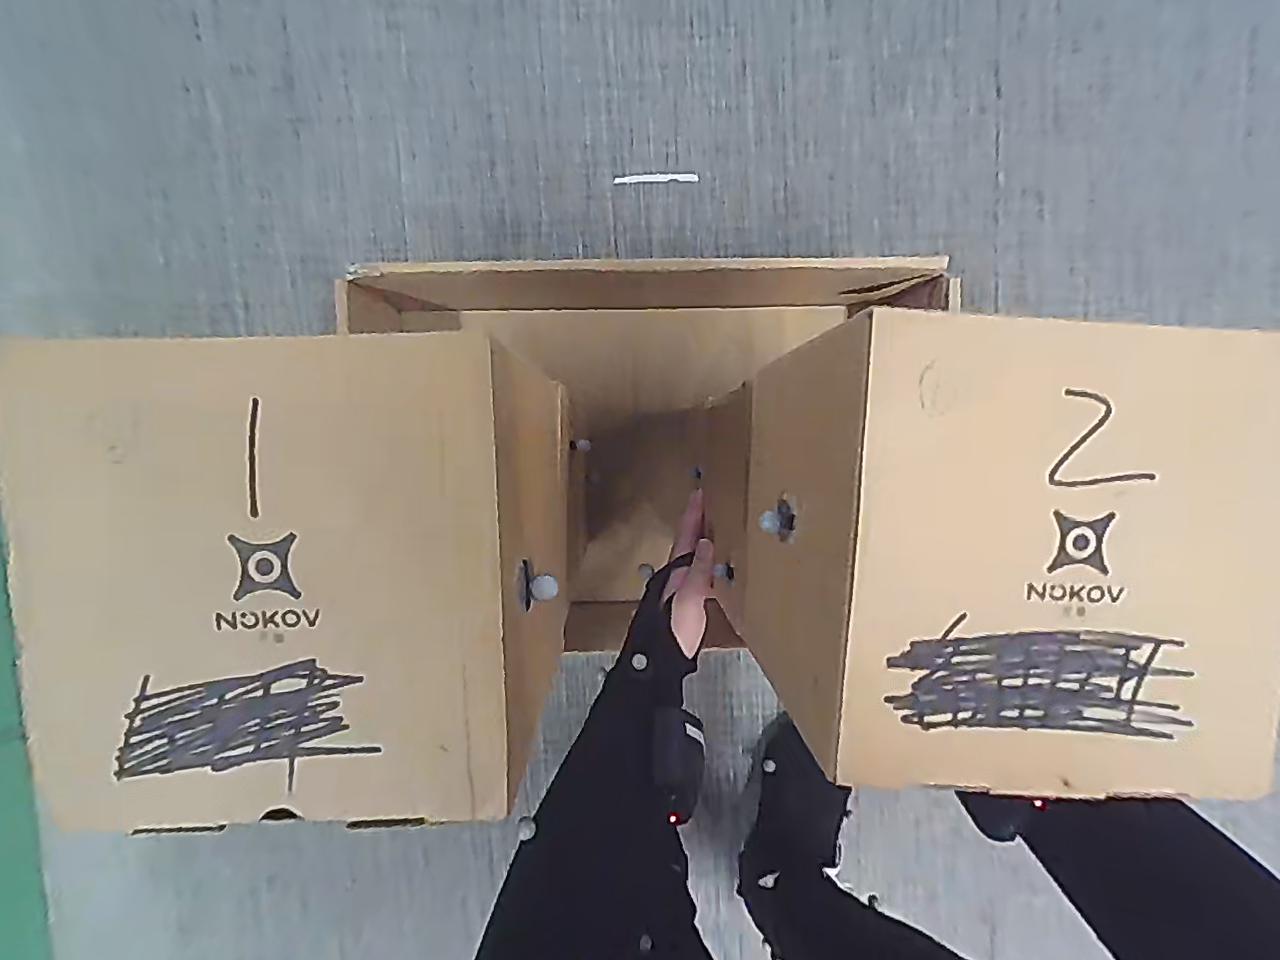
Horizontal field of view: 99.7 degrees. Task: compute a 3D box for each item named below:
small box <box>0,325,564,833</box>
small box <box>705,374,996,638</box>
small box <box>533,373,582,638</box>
[{"bbox_3d":[-0.128,0.029,0.262,0.168,0.176,0.179,-1,94,-2],"label":"small box"},{"bbox_3d":[0.147,0.012,0.436,0.168,0.176,0.179,0,96,-2],"label":"small box"},{"bbox_3d":[-0.134,0.012,0.425,0.168,0.176,0.179,1,95,-3],"label":"small box"}]
